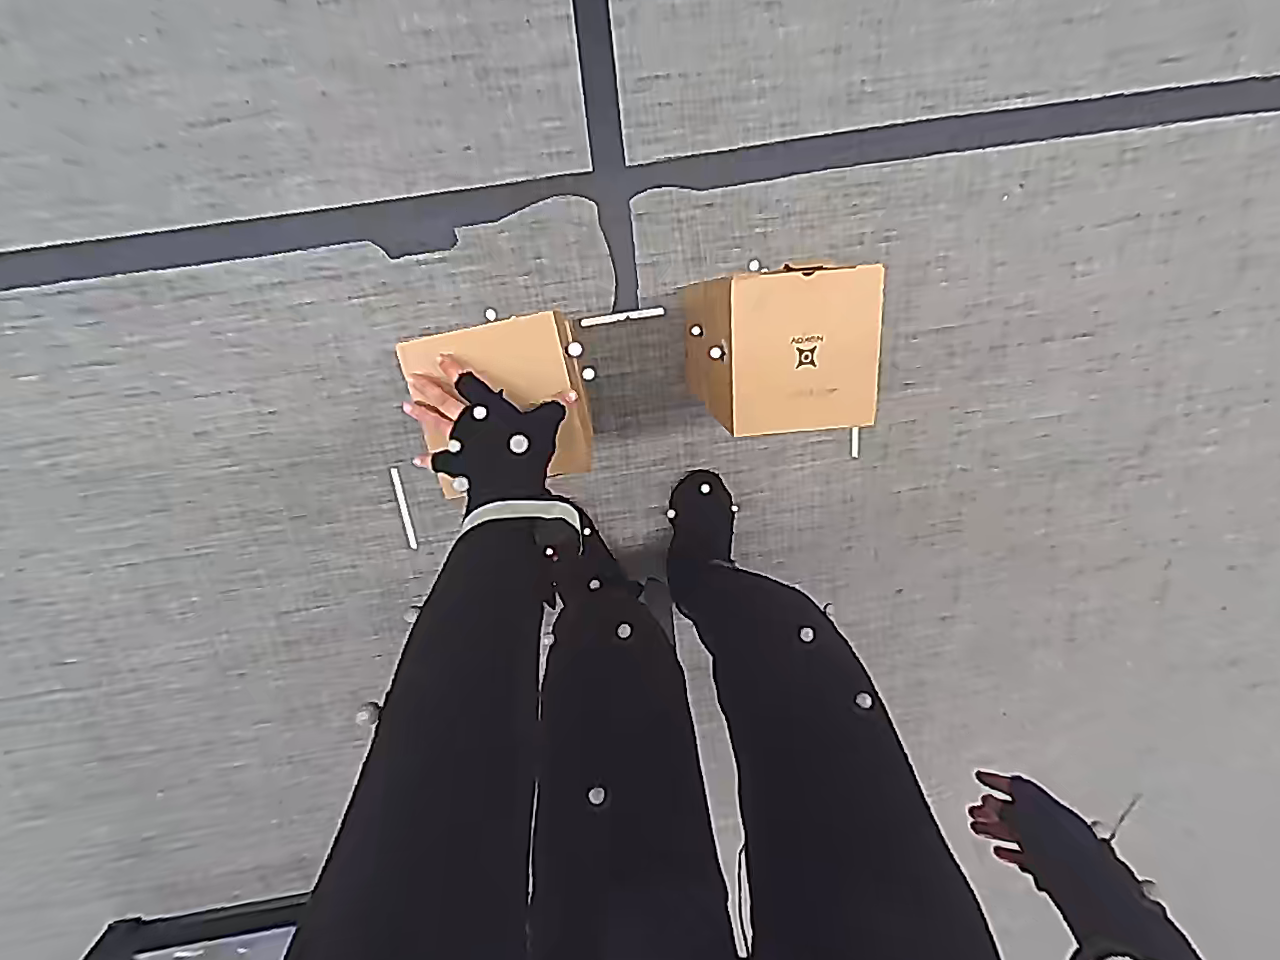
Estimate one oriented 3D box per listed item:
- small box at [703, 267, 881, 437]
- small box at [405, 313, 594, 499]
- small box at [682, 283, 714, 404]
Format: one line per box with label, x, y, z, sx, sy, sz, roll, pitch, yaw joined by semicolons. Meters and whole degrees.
small box;0.174;-0.160;0.669;0.168;0.176;0.179;-5;108;-3
small box;-0.154;-0.098;0.654;0.168;0.176;0.179;-12;108;-1
small box;0.168;-0.213;0.823;0.179;0.176;0.168;-5;107;-5
